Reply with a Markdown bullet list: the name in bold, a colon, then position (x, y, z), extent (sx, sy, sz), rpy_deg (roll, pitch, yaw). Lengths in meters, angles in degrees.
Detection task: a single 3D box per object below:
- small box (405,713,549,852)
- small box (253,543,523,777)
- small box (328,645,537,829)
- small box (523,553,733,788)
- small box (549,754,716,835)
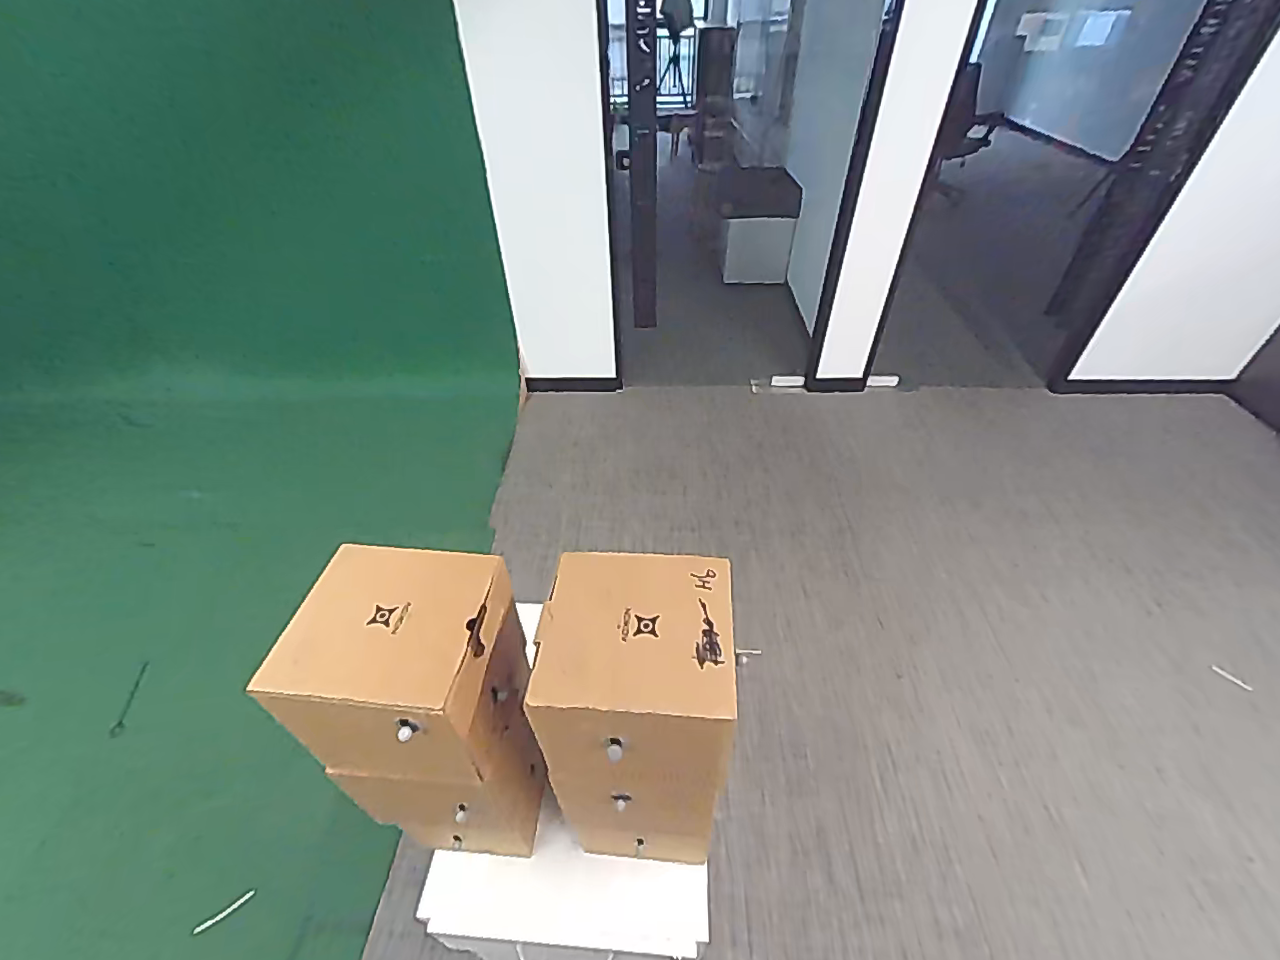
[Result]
- **small box**: position (-0.232, 0.419, 0.788), extent (0.168, 0.176, 0.179), rpy_deg (4, 43, 2)
- **small box**: position (-0.235, 0.186, 0.560), extent (0.179, 0.176, 0.168), rpy_deg (4, 42, 4)
- **small box**: position (-0.233, 0.311, 0.667), extent (0.179, 0.176, 0.168), rpy_deg (2, 42, 3)
- **small box**: position (0.001, 0.192, 0.547), extent (0.179, 0.176, 0.168), rpy_deg (1, 43, 6)
- **small box**: position (0.002, 0.311, 0.659), extent (0.179, 0.176, 0.168), rpy_deg (3, 43, 5)
